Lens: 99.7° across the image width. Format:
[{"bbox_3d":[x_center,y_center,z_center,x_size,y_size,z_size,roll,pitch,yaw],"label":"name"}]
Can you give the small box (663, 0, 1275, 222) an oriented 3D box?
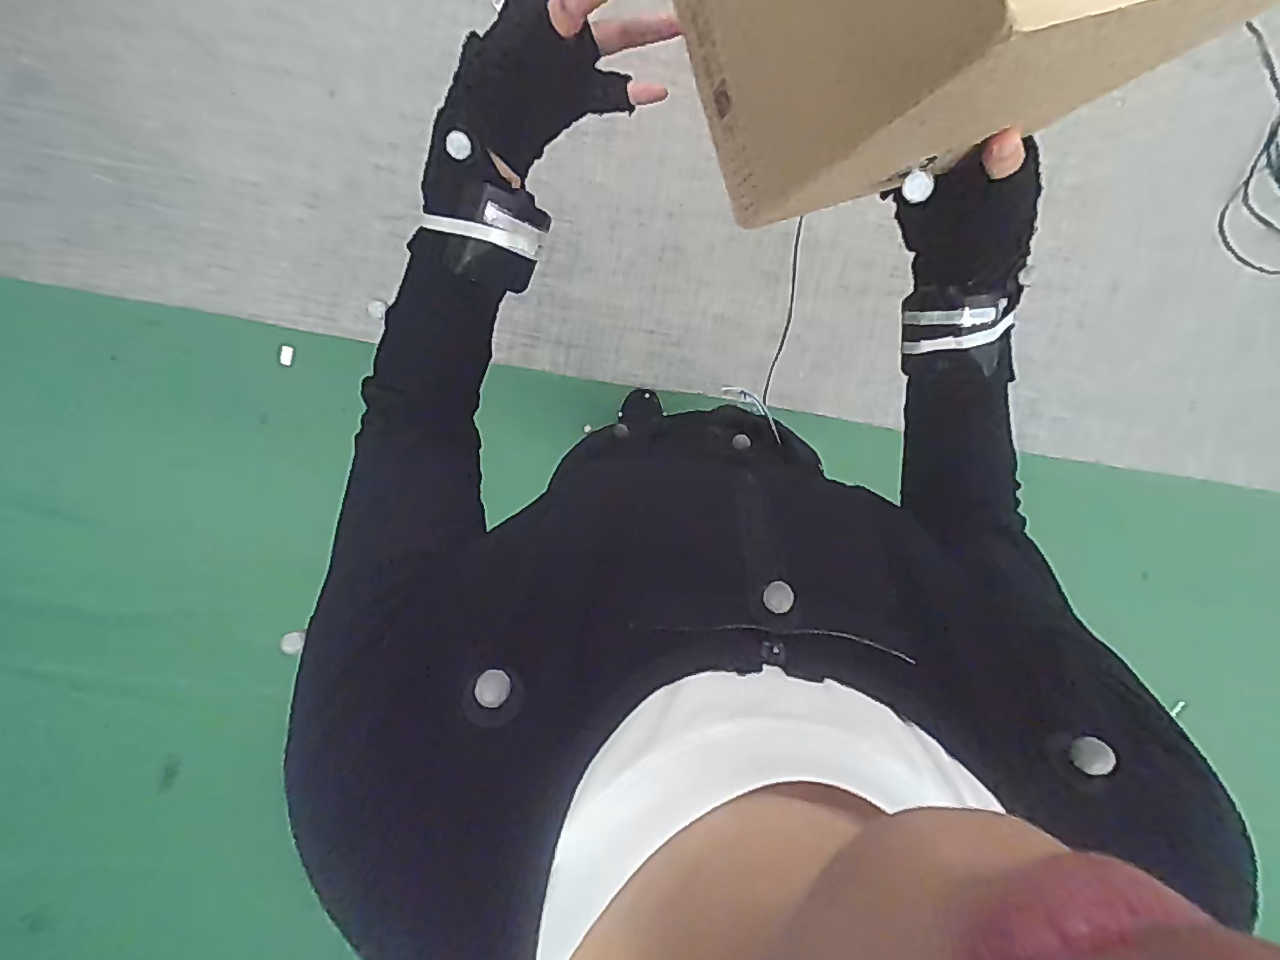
[{"bbox_3d":[0.124,-0.236,0.228,0.179,0.176,0.168,-22,102,-14],"label":"small box"}]
